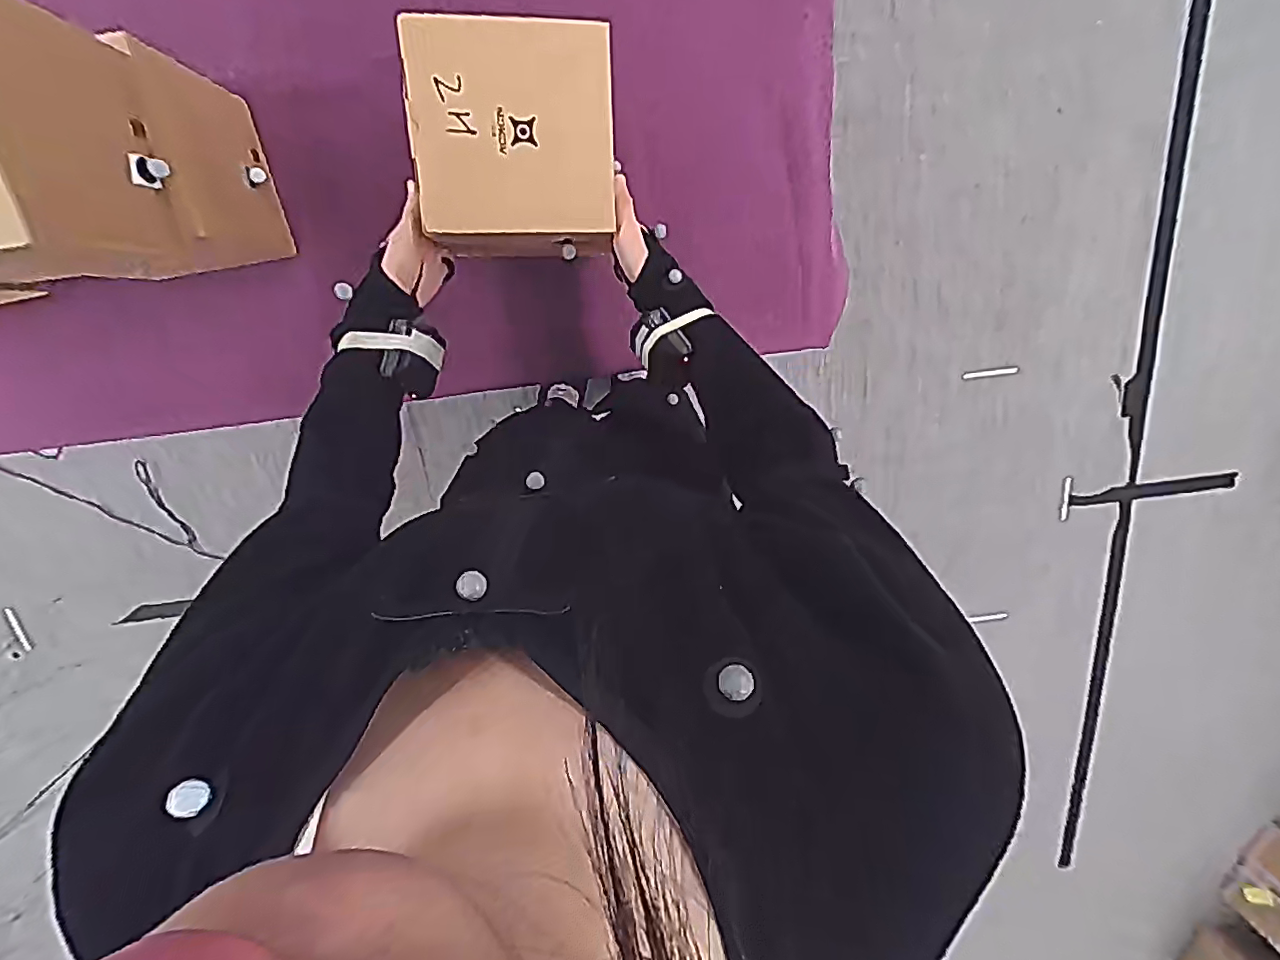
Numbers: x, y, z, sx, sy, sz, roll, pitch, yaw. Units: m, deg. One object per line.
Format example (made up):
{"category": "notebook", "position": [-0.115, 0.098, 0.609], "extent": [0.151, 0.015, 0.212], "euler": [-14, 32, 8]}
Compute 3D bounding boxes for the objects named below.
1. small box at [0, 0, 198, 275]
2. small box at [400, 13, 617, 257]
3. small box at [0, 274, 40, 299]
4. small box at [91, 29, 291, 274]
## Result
{"category": "small box", "position": [-0.498, -0.250, 0.404], "extent": [0.179, 0.176, 0.168], "euler": [-8, 110, -2]}
{"category": "small box", "position": [-0.119, -0.323, 0.544], "extent": [0.179, 0.176, 0.168], "euler": [-3, 107, -7]}
{"category": "small box", "position": [-0.801, -0.268, 0.550], "extent": [0.168, 0.176, 0.179], "euler": [-11, 108, 0]}
{"category": "small box", "position": [-0.509, -0.313, 0.553], "extent": [0.179, 0.176, 0.168], "euler": [-10, 109, -1]}
